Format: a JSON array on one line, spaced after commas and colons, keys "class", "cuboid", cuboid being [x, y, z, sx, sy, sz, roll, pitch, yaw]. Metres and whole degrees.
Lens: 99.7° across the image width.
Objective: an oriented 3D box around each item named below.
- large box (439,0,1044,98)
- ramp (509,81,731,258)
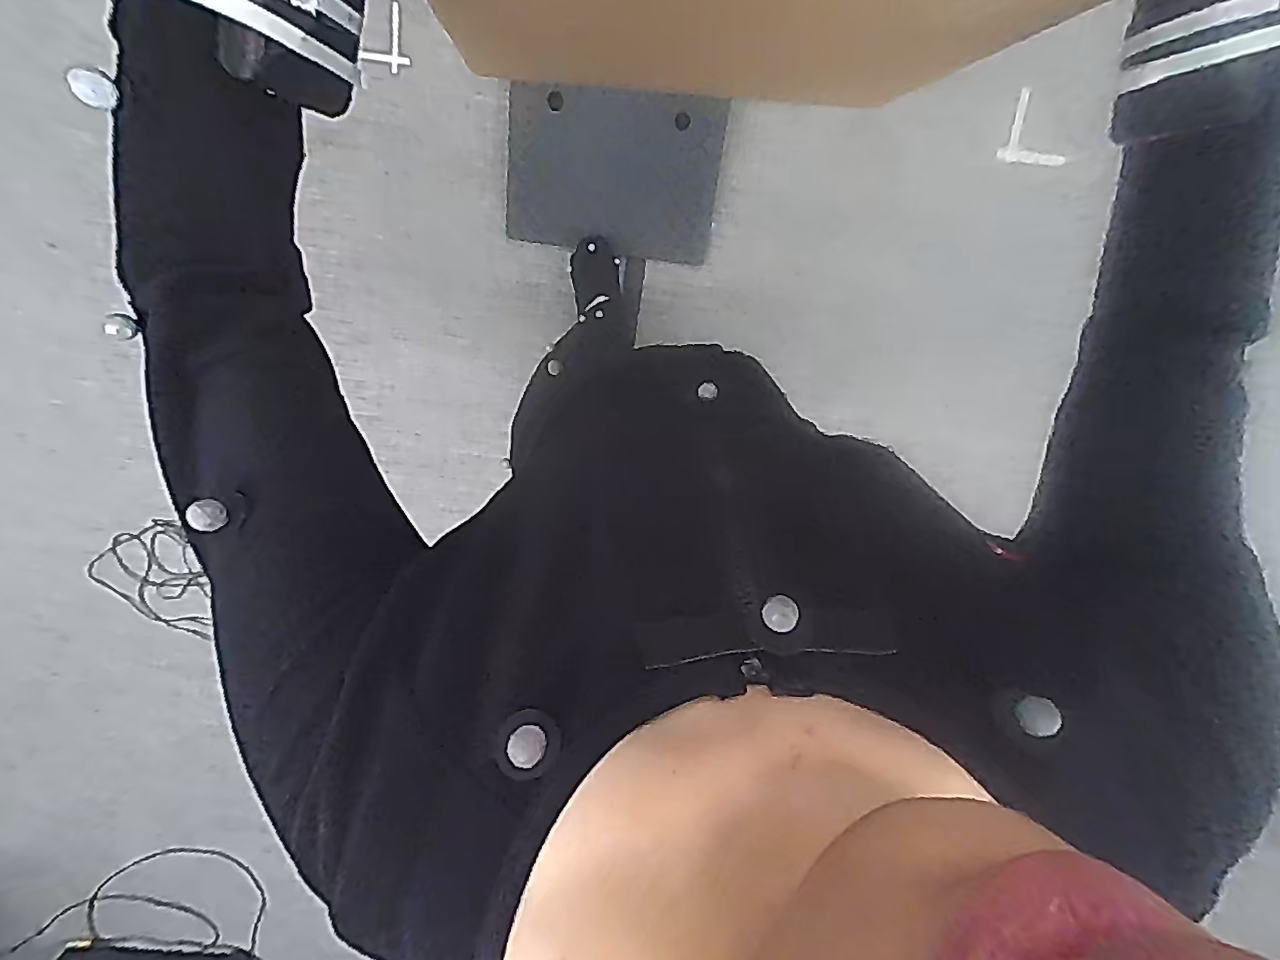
[{"class": "large box", "cuboid": [0.059, -0.468, 0.339, 0.408, 0.320, 0.320, -1, 113, -7]}, {"class": "ramp", "cuboid": [-0.018, -1.026, 1.132, 0.509, 0.206, 0.991, 4, 105, -4]}]
